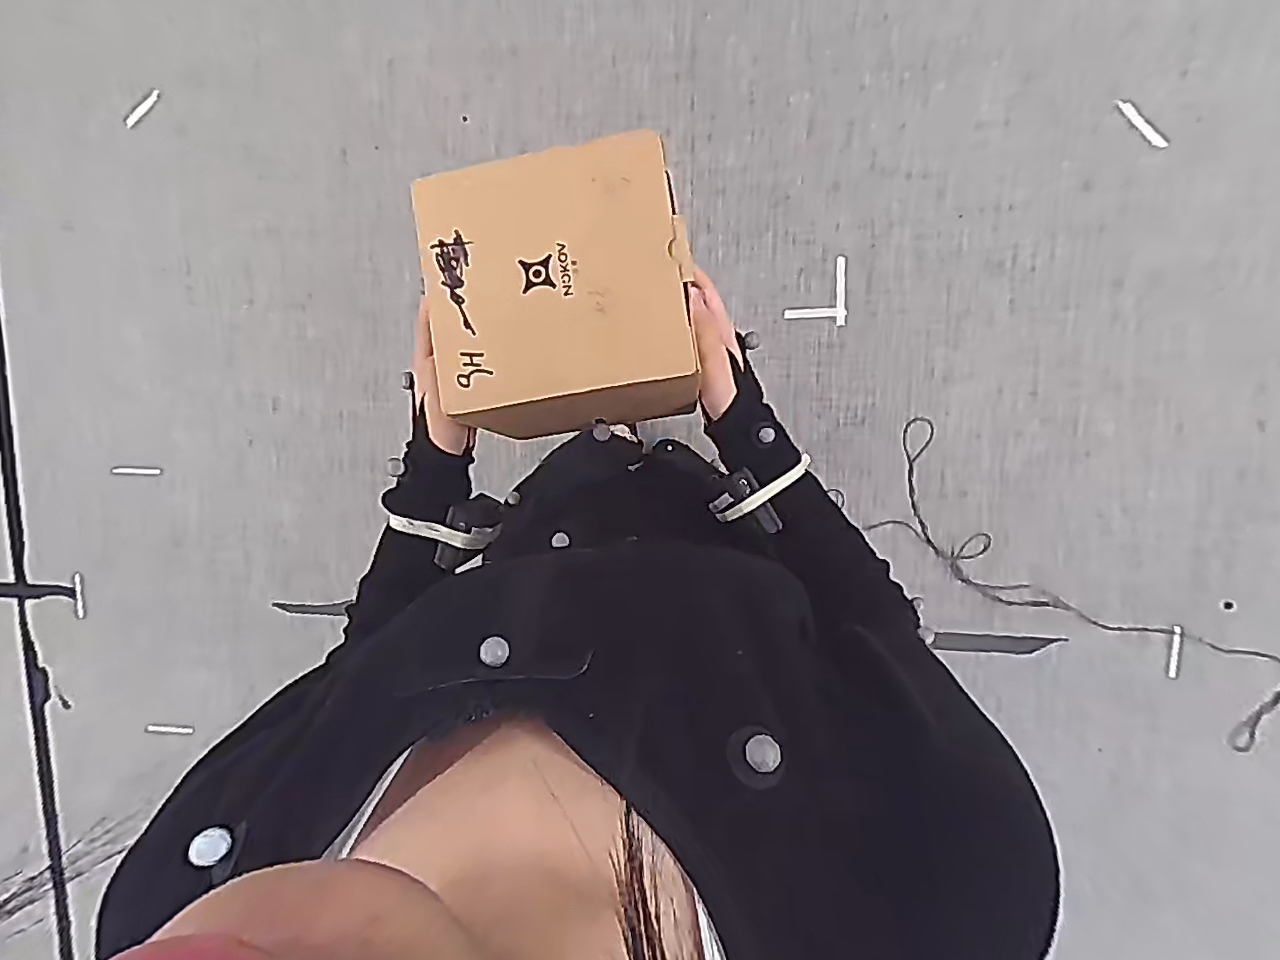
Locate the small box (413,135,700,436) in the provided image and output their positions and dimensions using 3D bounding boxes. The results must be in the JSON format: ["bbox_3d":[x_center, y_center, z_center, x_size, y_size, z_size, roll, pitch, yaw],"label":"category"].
[{"bbox_3d":[-0.053,-0.134,0.436,0.179,0.176,0.168,-8,87,3],"label":"small box"}]
